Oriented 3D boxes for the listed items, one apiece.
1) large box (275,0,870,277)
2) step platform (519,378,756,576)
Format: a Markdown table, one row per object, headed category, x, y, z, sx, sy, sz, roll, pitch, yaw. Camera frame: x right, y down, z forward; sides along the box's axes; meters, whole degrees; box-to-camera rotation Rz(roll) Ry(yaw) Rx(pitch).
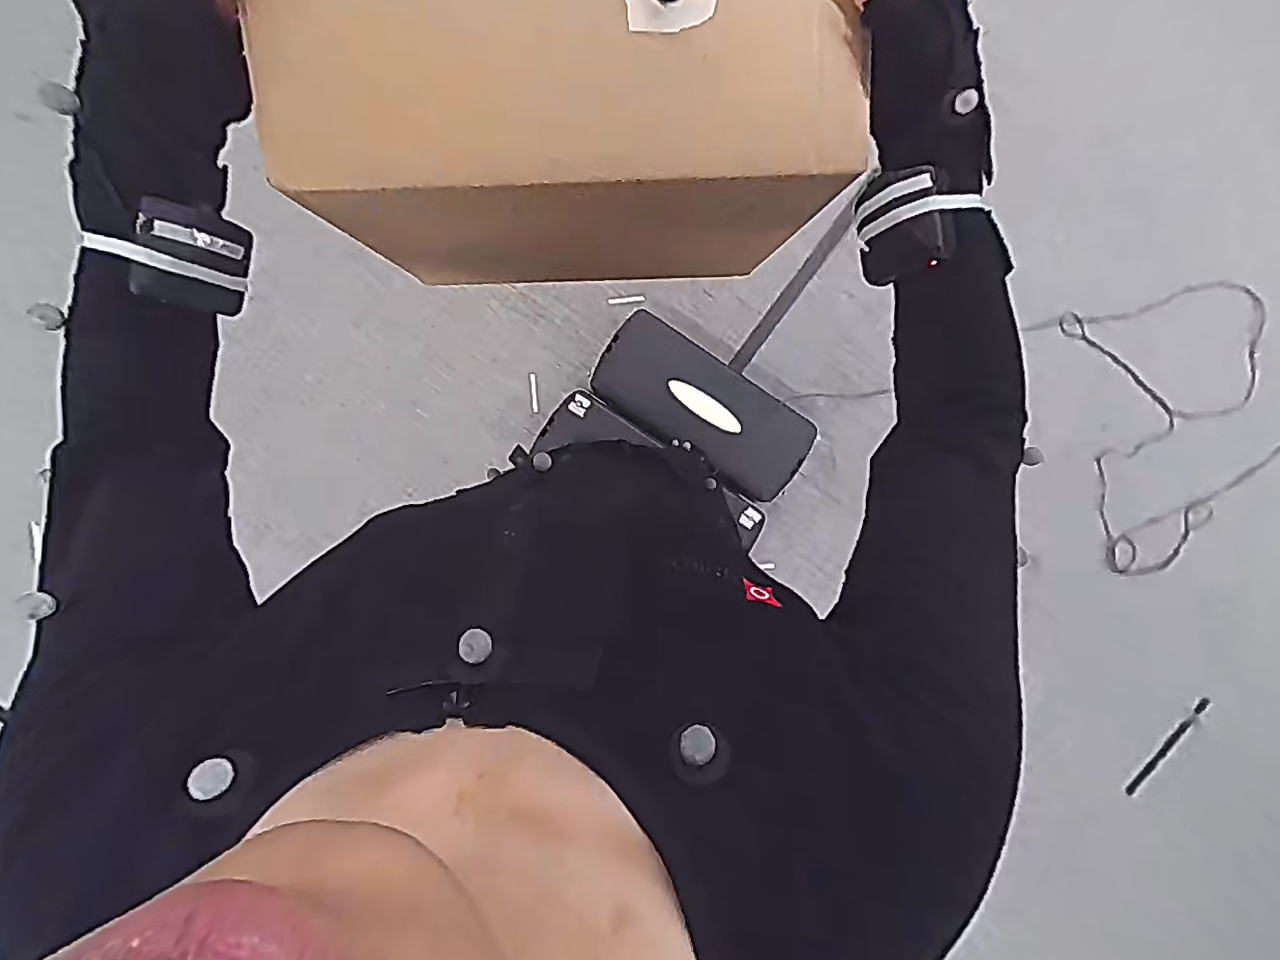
| category | x | y | z | sx | sy | sz | roll | pitch | yaw |
| --- | --- | --- | --- | --- | --- | --- | --- | --- | --- |
| large box | -0.053 | -0.388 | 0.501 | 0.408 | 0.320 | 0.320 | -3 | 100 | -4 |
| step platform | -0.005 | -0.008 | 1.578 | 0.684 | 0.204 | 0.286 | 33 | 93 | -2 |
